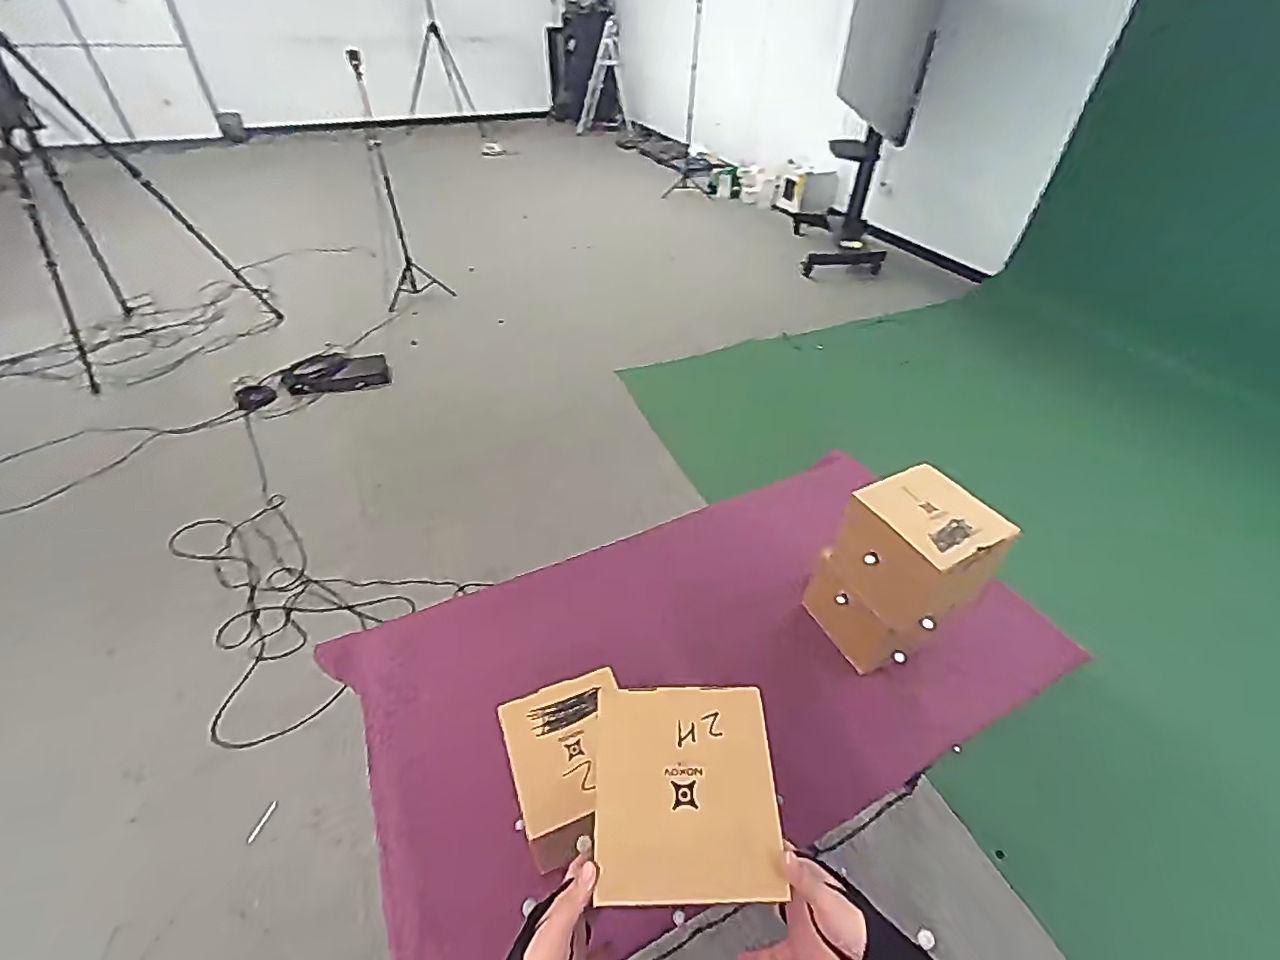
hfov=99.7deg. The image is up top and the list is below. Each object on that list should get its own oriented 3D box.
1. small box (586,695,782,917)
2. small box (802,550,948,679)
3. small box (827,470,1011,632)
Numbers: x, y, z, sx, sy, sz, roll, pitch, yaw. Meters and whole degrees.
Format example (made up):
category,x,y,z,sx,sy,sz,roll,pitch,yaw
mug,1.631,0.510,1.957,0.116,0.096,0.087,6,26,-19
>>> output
category,x,y,z,sx,sy,sz,roll,pitch,yaw
small box,0.038,0.335,0.557,0.168,0.176,0.179,0,51,0
small box,0.424,0.227,0.991,0.168,0.176,0.179,-16,45,-17
small box,0.432,0.118,0.868,0.168,0.176,0.179,-18,44,-19
